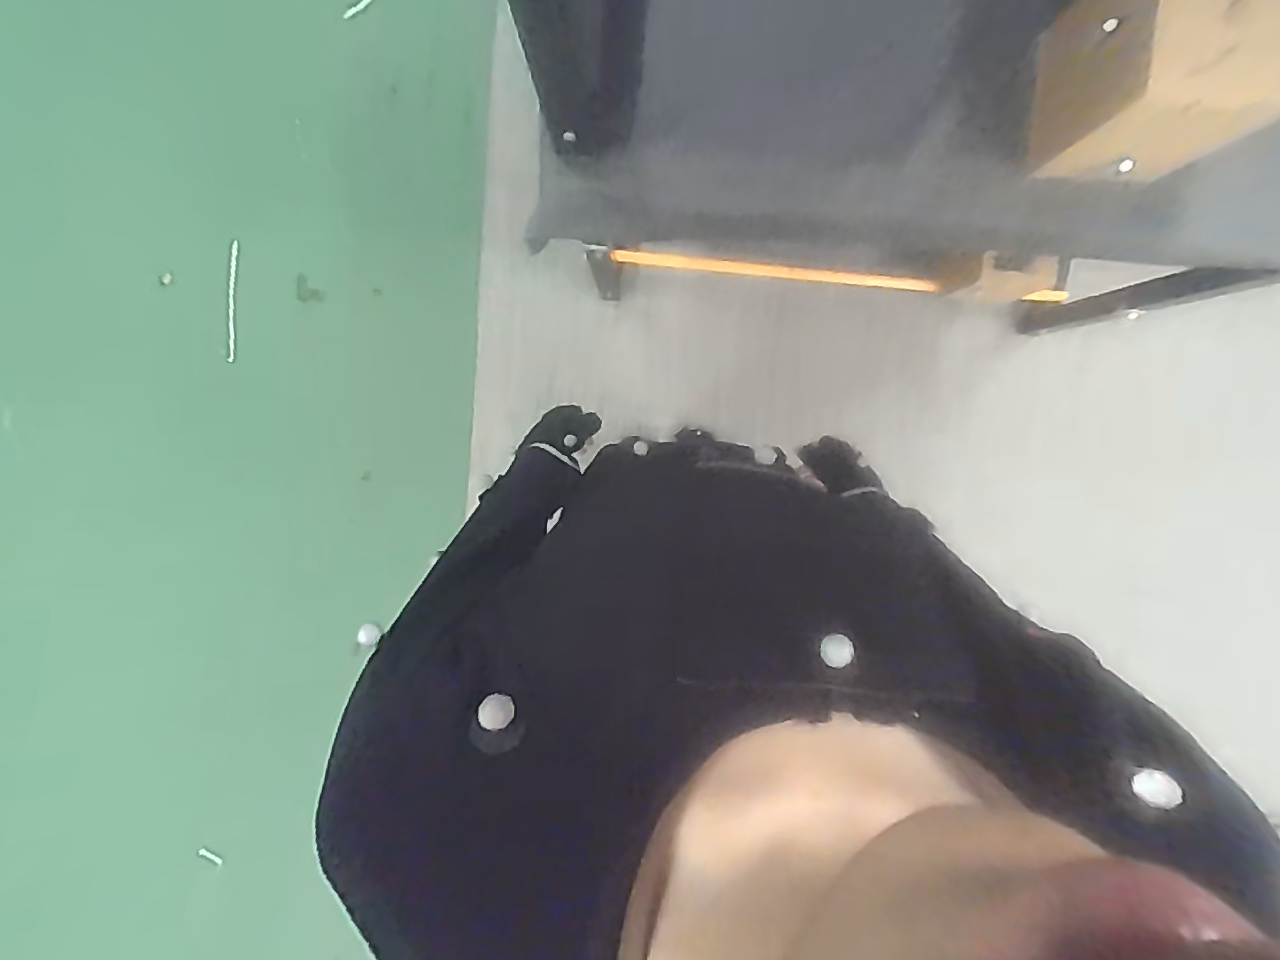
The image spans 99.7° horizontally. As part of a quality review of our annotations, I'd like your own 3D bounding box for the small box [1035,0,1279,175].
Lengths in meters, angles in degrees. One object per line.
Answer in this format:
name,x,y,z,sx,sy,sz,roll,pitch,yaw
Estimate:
small box,0.594,-0.483,0.617,0.168,0.176,0.179,3,95,0
